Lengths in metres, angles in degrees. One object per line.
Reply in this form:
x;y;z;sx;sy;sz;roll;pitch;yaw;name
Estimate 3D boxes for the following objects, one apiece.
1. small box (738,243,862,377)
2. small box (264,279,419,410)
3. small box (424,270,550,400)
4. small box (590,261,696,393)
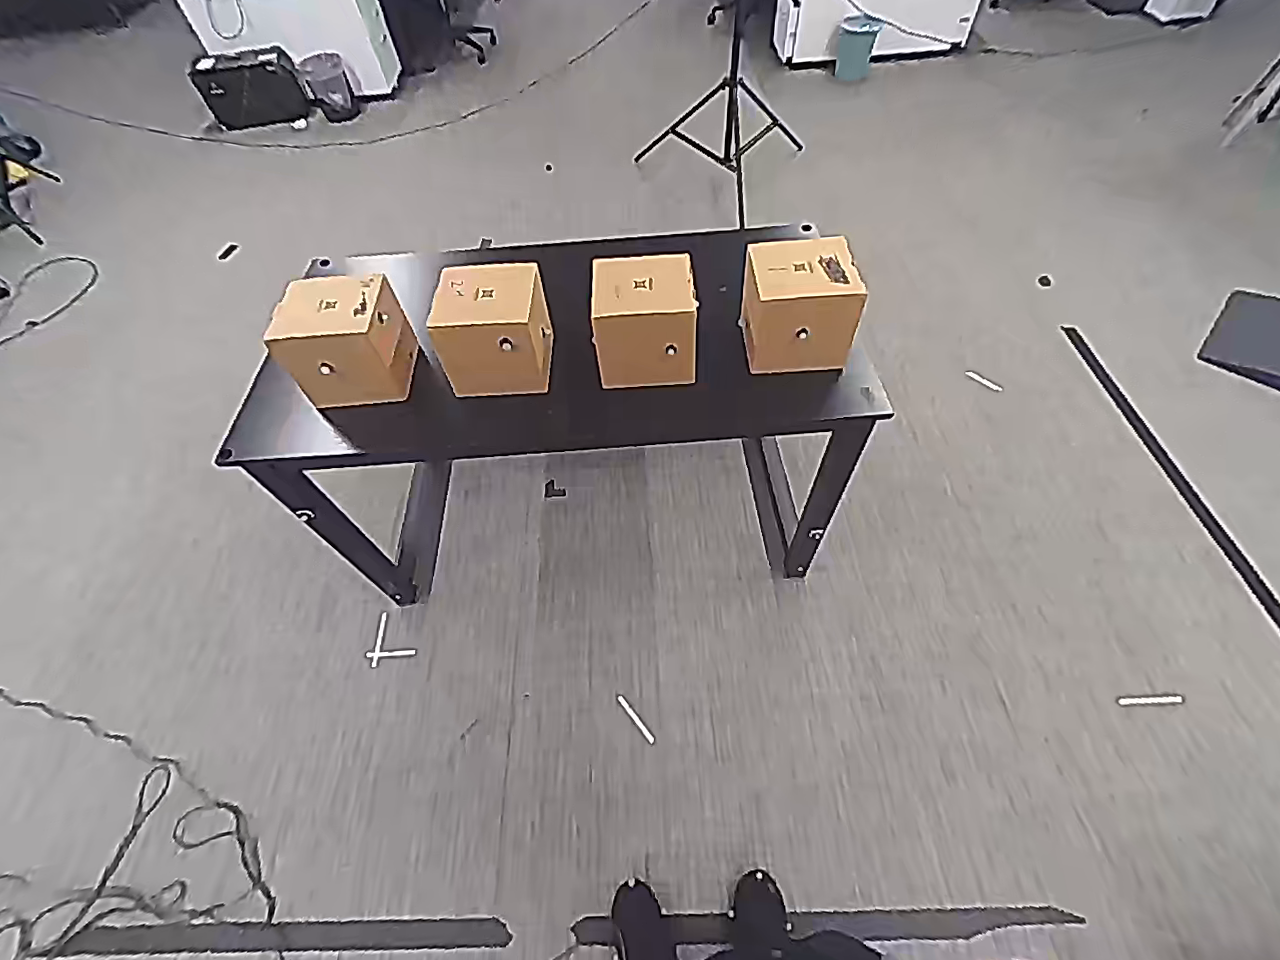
0.282;-0.307;0.994;0.179;0.176;0.168;-3;55;3;small box
-0.541;-0.246;1.007;0.179;0.176;0.168;-6;55;0;small box
-0.269;-0.265;1.002;0.179;0.176;0.168;-3;55;2;small box
0.004;-0.278;0.995;0.179;0.176;0.168;-4;53;0;small box
